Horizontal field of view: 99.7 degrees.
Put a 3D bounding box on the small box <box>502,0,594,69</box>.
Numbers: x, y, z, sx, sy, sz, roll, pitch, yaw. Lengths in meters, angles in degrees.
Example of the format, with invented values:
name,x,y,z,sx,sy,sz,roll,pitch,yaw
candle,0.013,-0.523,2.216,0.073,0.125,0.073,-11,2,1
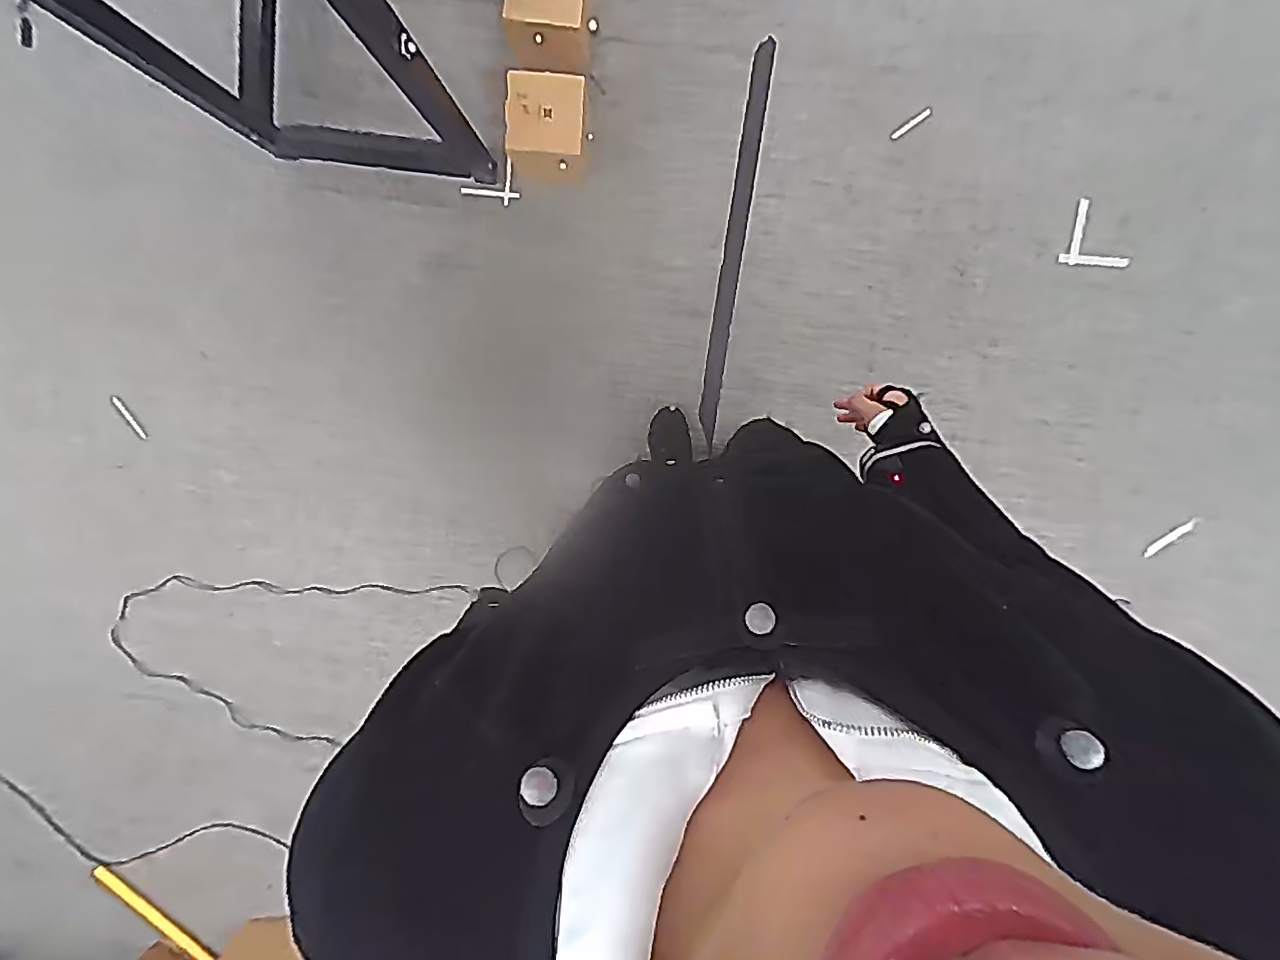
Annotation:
name,x,y,z,sx,sy,sz,roll,pitch,yaw
small box,-0.208,-1.095,1.254,0.179,0.176,0.168,6,99,-1
